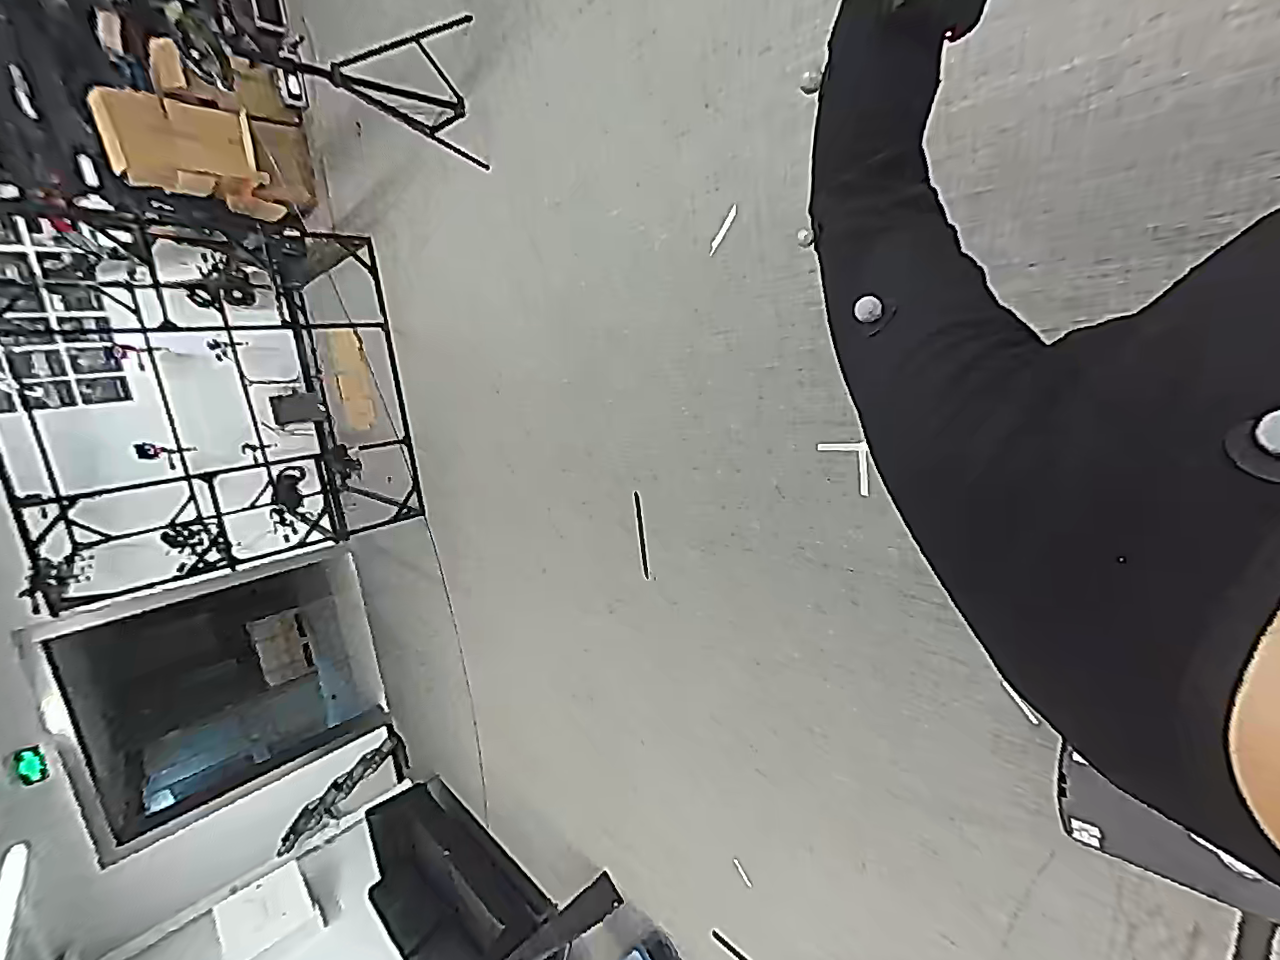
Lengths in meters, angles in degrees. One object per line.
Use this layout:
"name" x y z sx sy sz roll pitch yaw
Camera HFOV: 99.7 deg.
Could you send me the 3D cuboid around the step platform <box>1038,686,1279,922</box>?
"step platform" 1.198 0.663 1.050 0.684 0.204 0.286 5 106 48
